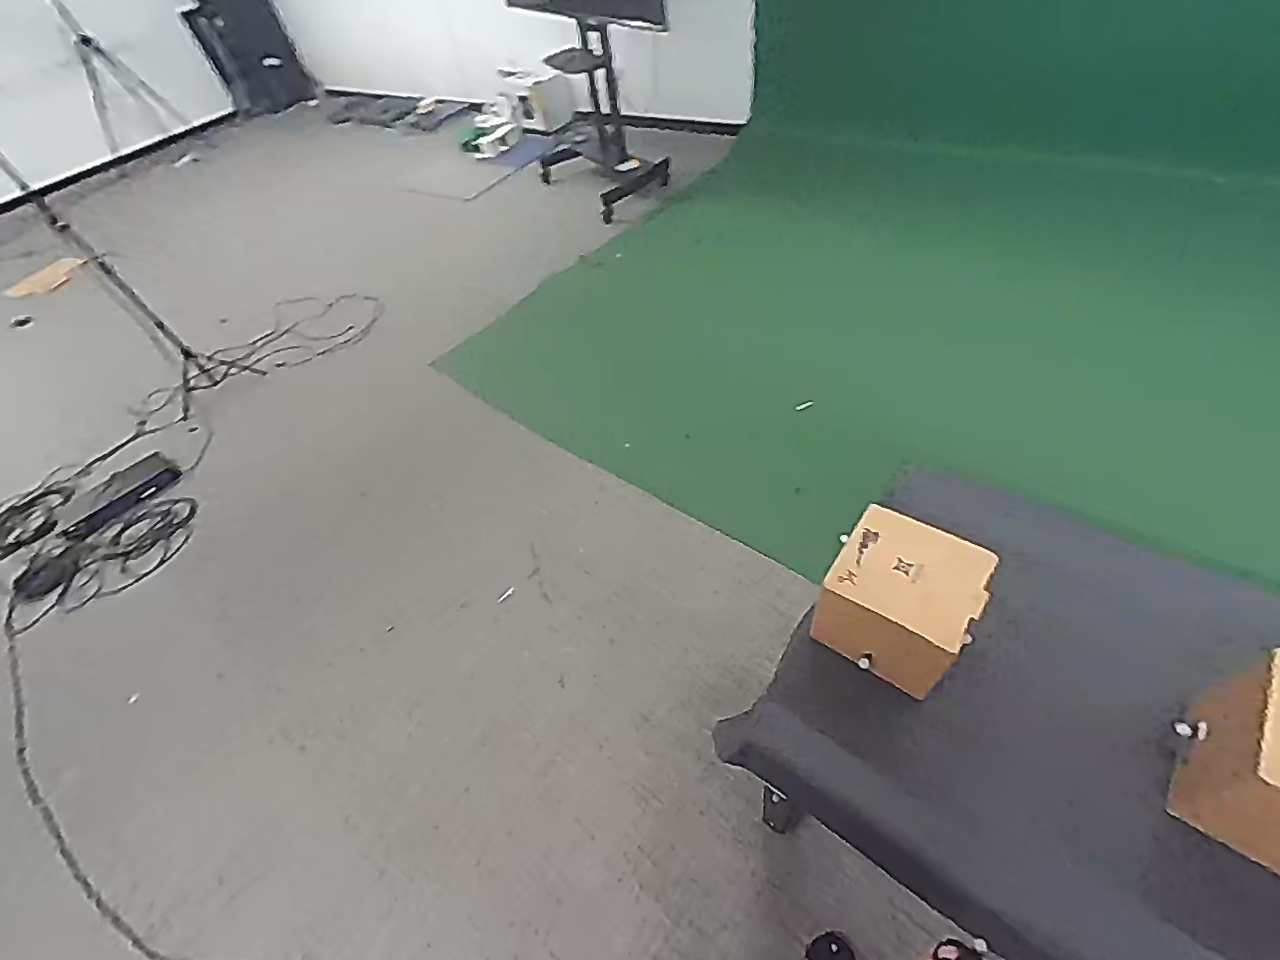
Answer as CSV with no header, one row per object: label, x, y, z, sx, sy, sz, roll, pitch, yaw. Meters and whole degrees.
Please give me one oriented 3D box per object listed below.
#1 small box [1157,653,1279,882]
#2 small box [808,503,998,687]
small box,0.727,0.330,0.586,0.179,0.176,0.168,27,58,30
small box,0.366,0.171,0.779,0.179,0.176,0.168,28,59,28
